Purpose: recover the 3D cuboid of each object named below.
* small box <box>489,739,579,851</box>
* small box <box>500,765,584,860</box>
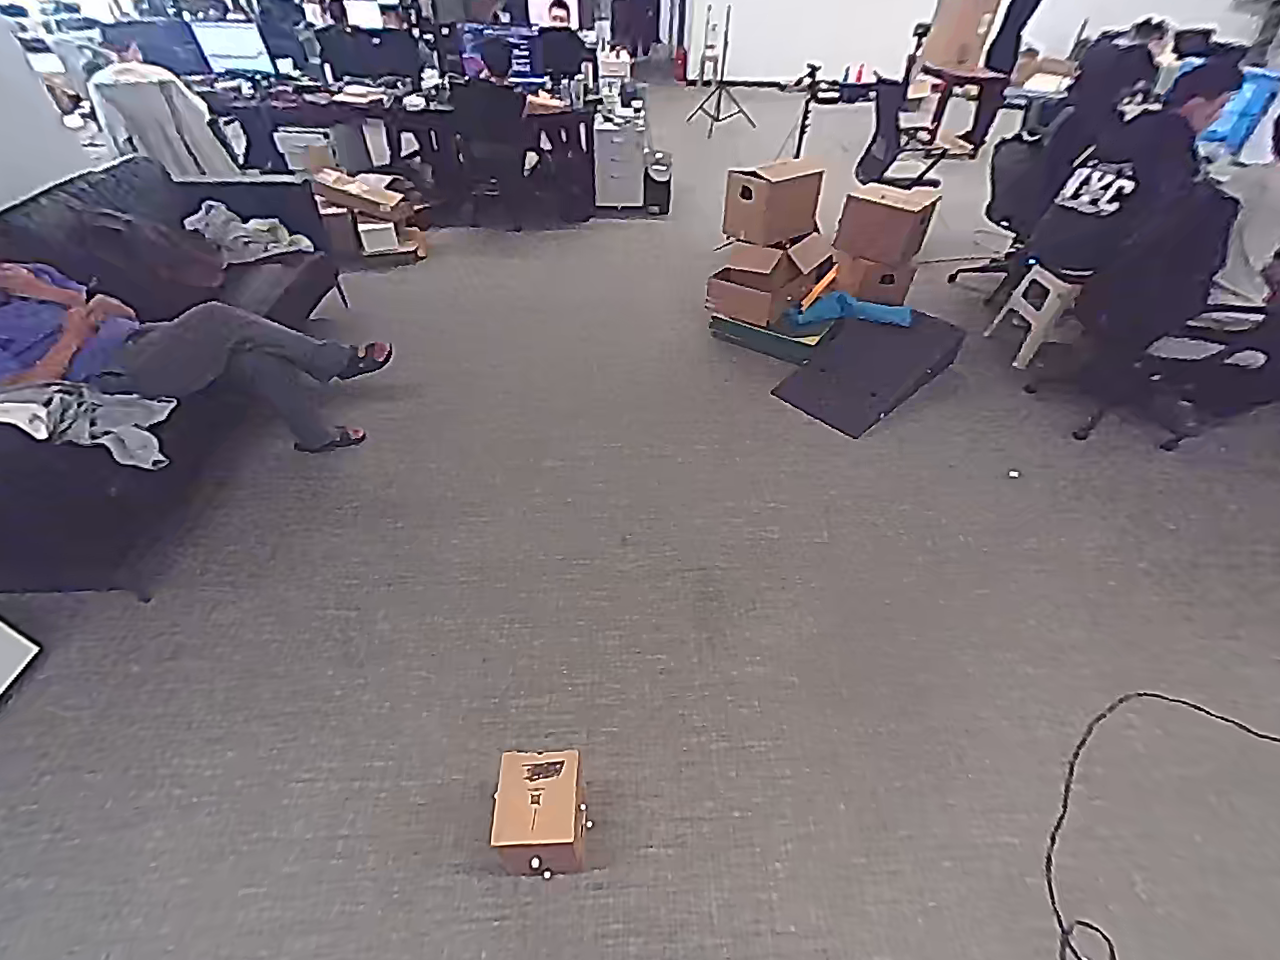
[{"bbox_3d":[-0.222,0.689,1.185,0.168,0.176,0.179,-1,45,-2],"label":"small box"},{"bbox_3d":[-0.227,0.802,1.306,0.179,0.176,0.168,1,44,-2],"label":"small box"}]
